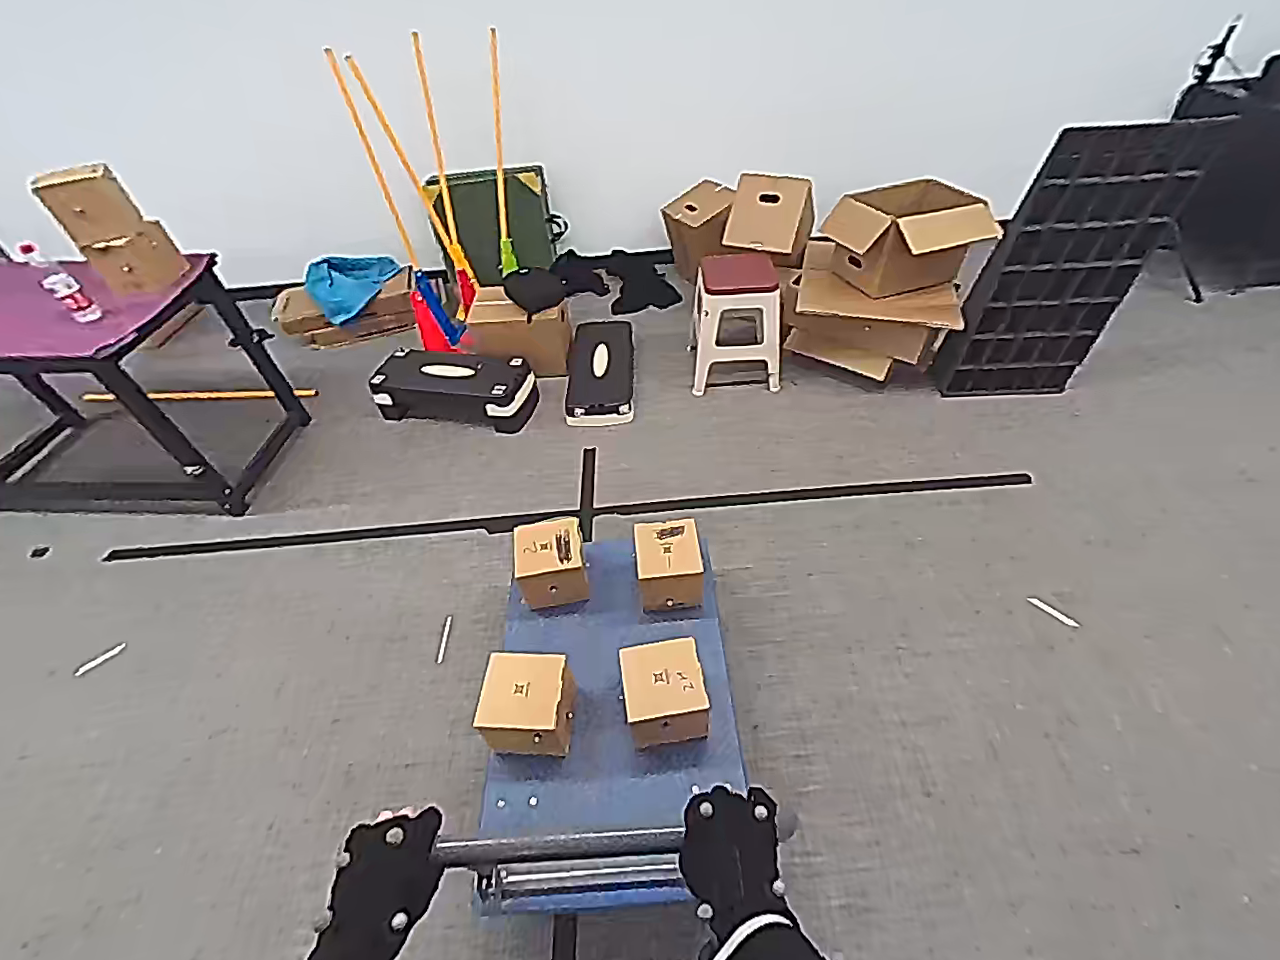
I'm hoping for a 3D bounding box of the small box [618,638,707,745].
[{"bbox_3d":[0.052,0.486,1.233,0.179,0.176,0.168,-8,47,-3],"label":"small box"}]

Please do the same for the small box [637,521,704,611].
[{"bbox_3d":[0.078,0.233,1.468,0.168,0.176,0.179,-5,48,0],"label":"small box"}]

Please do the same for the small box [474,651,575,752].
[{"bbox_3d":[-0.254,0.509,1.236,0.179,0.176,0.168,1,47,4],"label":"small box"}]
